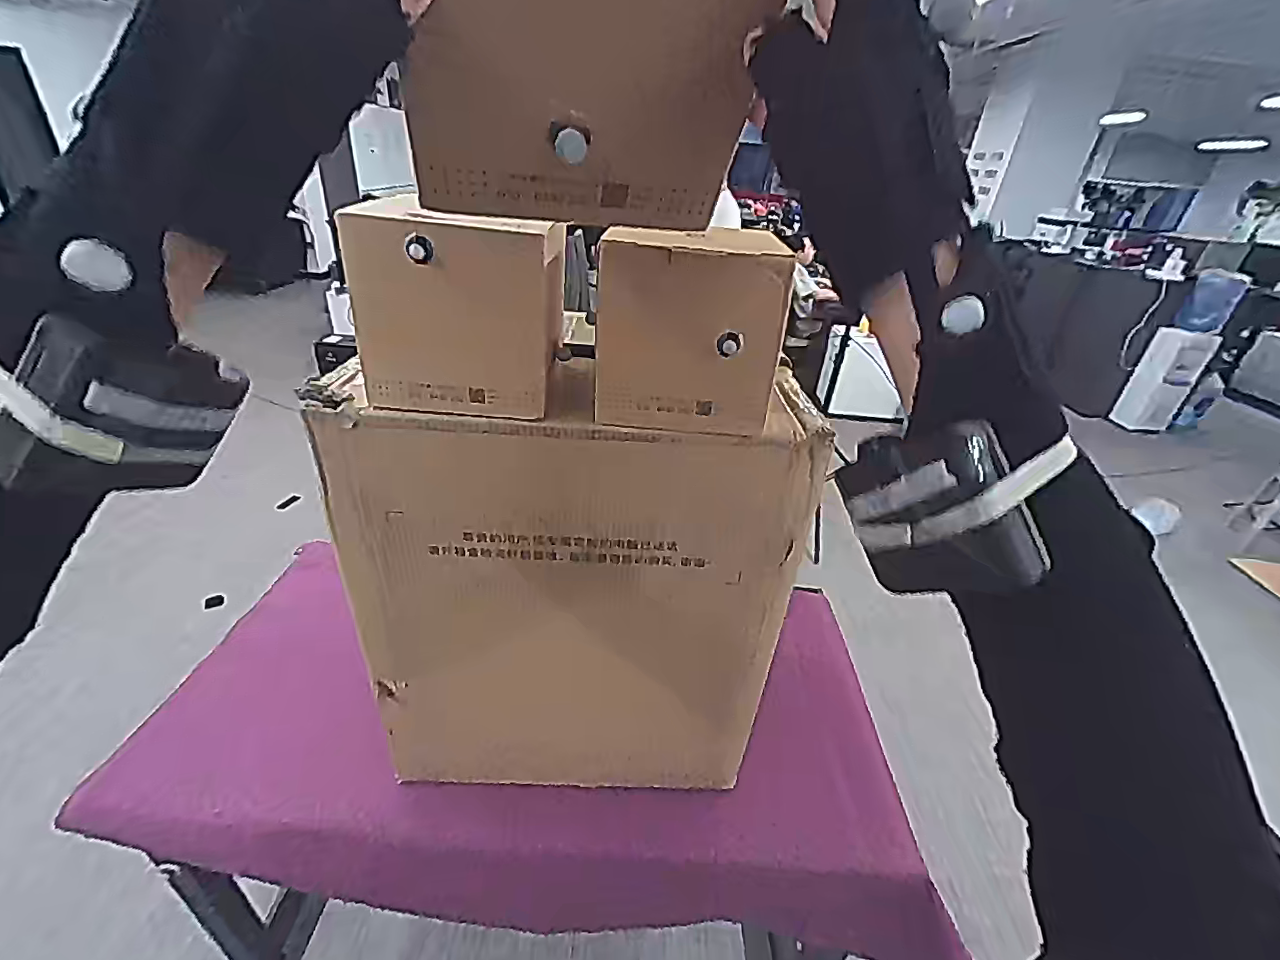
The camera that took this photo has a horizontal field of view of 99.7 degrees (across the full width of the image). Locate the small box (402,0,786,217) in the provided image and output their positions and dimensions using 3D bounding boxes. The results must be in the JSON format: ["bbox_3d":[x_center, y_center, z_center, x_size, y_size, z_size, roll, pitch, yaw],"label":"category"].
[{"bbox_3d":[-0.031,-0.270,0.278,0.168,0.176,0.179,-2,62,-14],"label":"small box"}]

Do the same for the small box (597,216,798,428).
[{"bbox_3d":[0.048,-0.163,0.550,0.168,0.176,0.179,6,29,0],"label":"small box"}]

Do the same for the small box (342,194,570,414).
[{"bbox_3d":[-0.163,-0.179,0.538,0.168,0.176,0.179,4,29,-3],"label":"small box"}]
